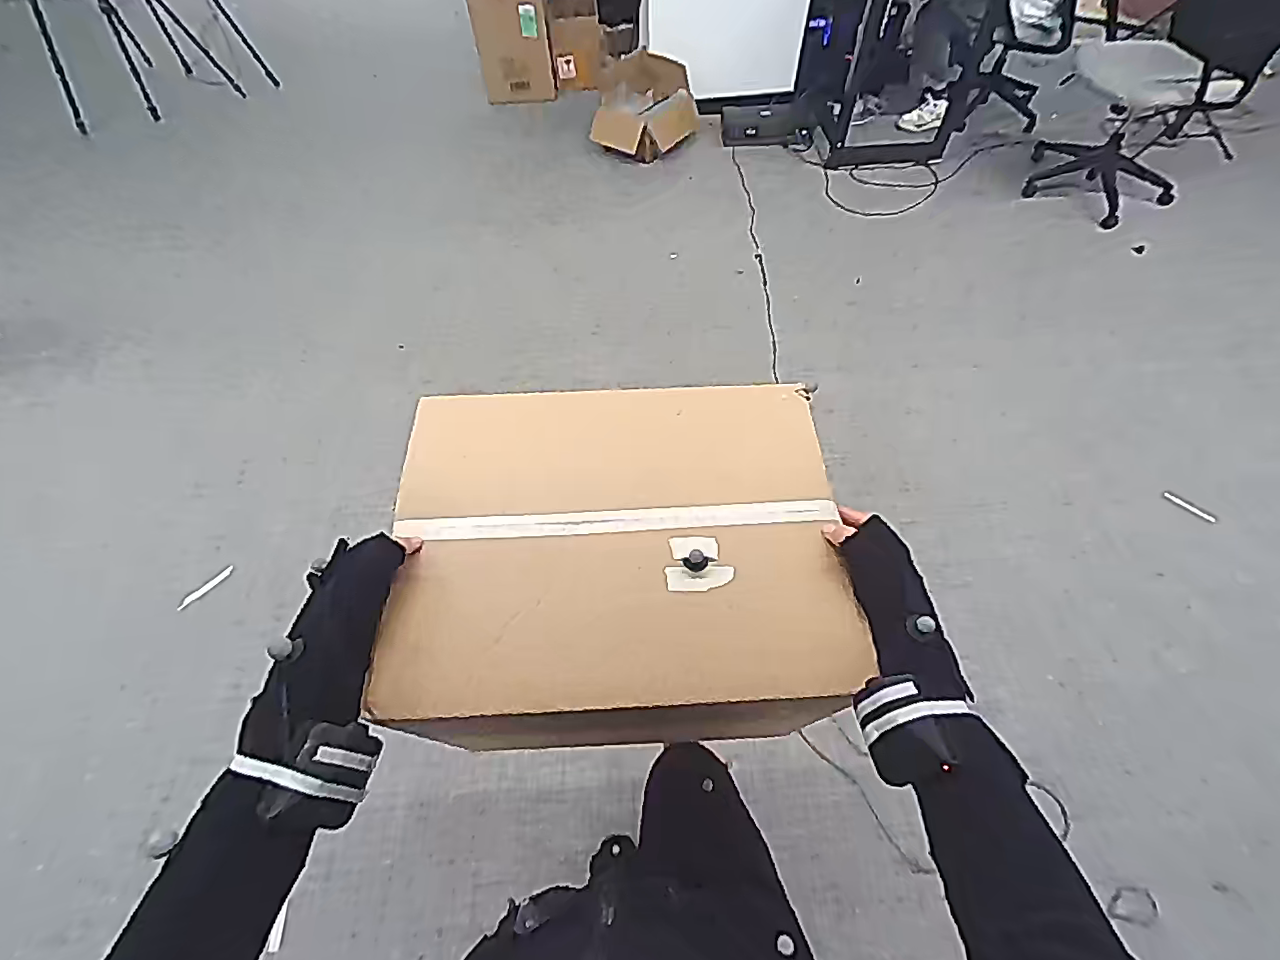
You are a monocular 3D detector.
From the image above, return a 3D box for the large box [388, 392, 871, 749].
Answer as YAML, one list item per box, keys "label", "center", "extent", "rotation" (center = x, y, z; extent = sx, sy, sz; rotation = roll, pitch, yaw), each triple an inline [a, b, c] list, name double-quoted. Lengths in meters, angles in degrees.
- label: "large box"
  center: [-0.017, 0.120, 0.640]
  extent: [0.408, 0.320, 0.320]
  rotation: [-2, 59, -2]
